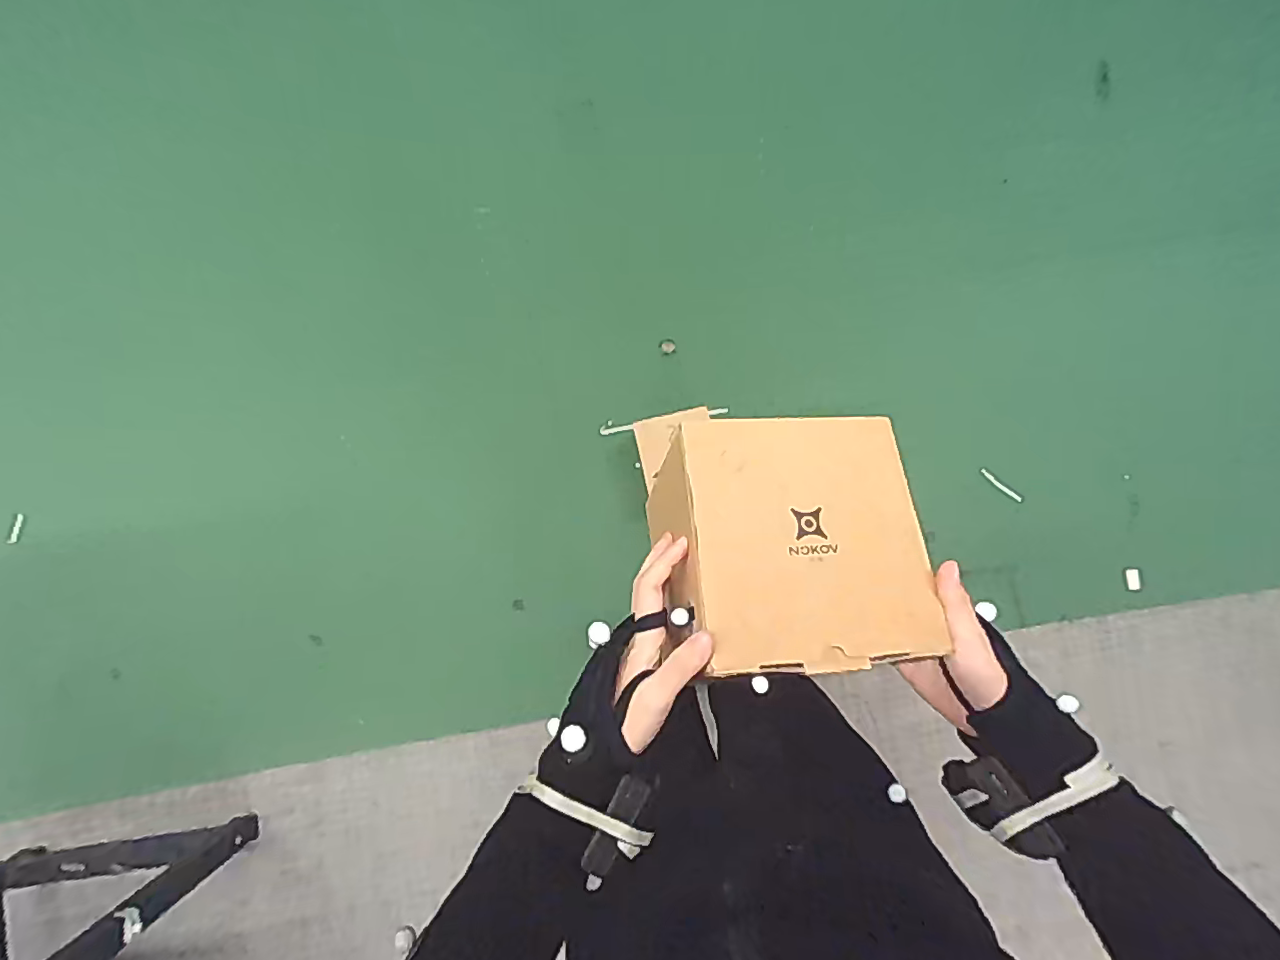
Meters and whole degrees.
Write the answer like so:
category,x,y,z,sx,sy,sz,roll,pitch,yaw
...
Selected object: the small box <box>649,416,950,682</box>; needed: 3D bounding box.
category,x,y,z,sx,sy,sz,roll,pitch,yaw
small box,0.105,0.064,0.445,0.168,0.176,0.179,-1,68,-10
